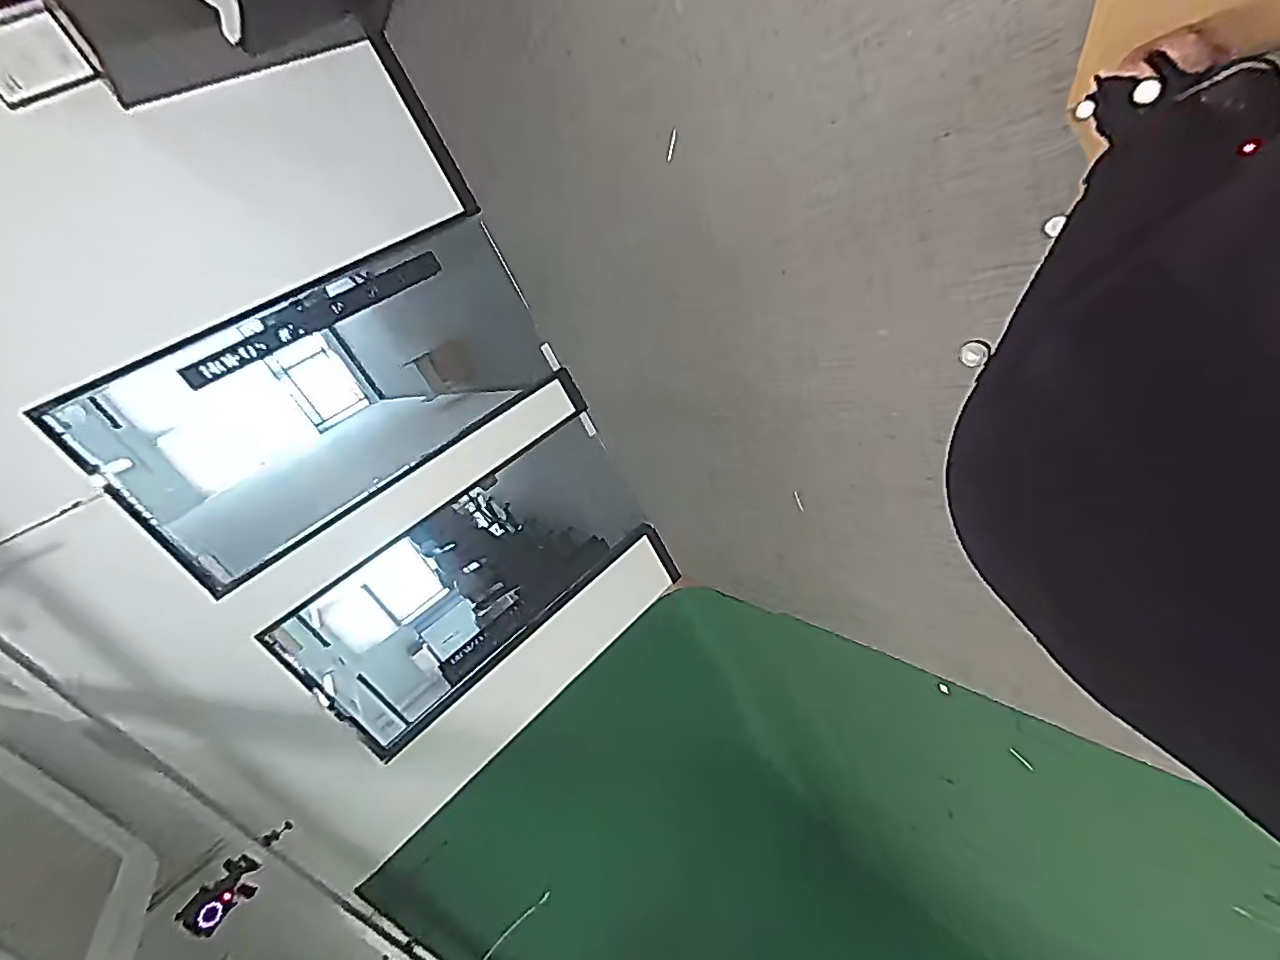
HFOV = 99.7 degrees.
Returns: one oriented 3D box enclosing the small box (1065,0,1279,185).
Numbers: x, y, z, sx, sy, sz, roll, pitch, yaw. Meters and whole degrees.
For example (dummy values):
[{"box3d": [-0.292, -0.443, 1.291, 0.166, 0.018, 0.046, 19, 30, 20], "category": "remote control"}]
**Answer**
[{"box3d": [0.549, -0.423, 0.517, 0.168, 0.179, 0.176, 20, 99, 51], "category": "small box"}]
